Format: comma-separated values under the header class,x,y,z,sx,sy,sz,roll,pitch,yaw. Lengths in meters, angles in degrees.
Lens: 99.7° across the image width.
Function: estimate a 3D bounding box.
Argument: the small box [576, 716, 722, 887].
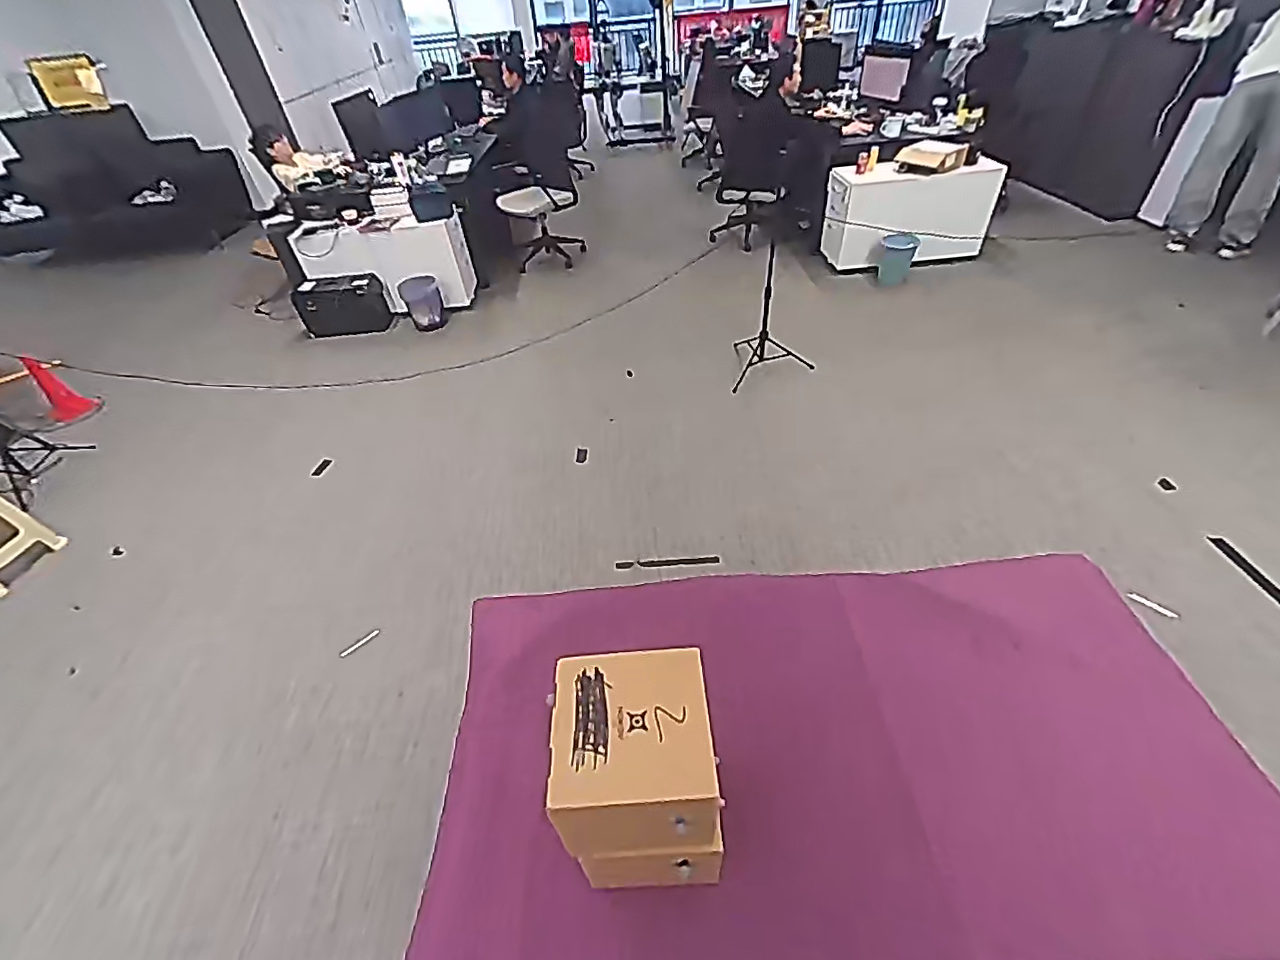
class,x,y,z,sx,sy,sz,roll,pitch,yaw
small box,0.014,0.446,0.751,0.179,0.176,0.168,-4,42,2
